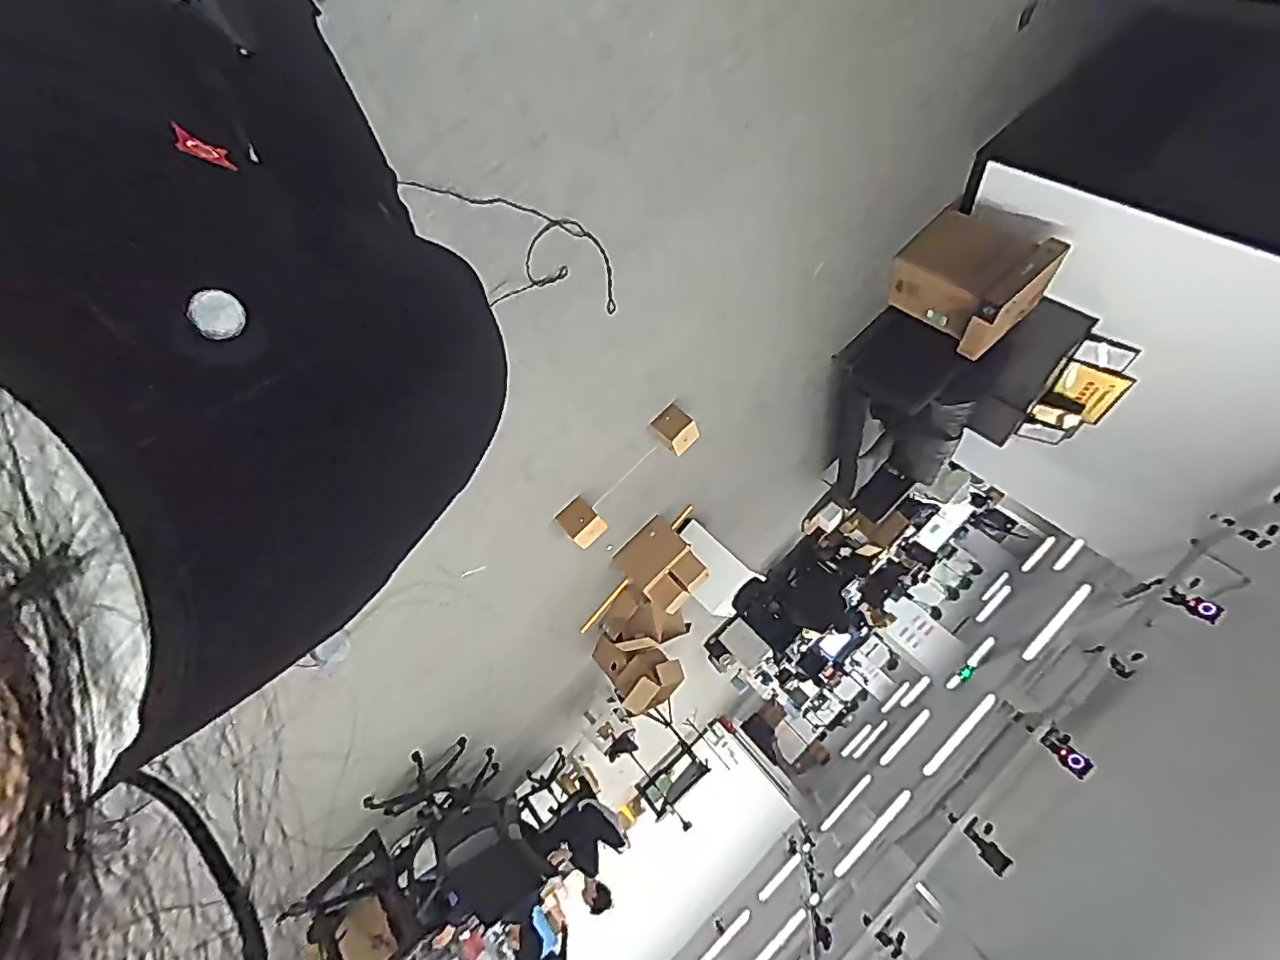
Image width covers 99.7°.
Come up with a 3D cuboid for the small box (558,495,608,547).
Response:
[{"bbox_3d":[-0.302,0.210,2.792,0.179,0.176,0.168,-44,151,-6],"label":"small box"}]

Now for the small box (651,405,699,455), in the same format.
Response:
[{"bbox_3d":[0.186,-0.268,2.852,0.168,0.176,0.179,-44,152,-6],"label":"small box"}]
